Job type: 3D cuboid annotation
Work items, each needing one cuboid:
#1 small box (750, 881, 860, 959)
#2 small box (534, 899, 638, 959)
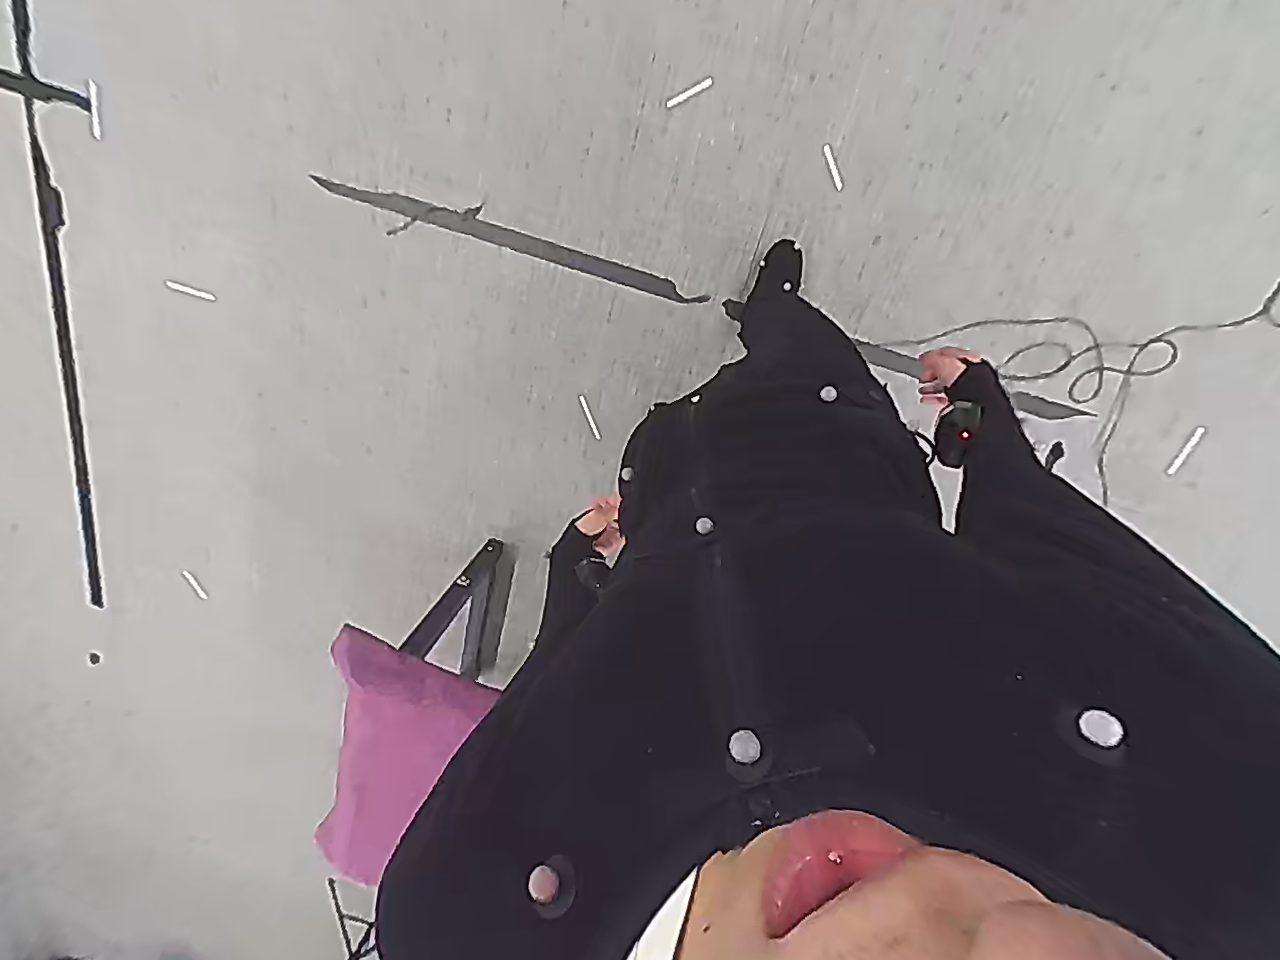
[{"bbox_3d":[0.339,0.976,1.114,0.179,0.176,0.168,20,112,0],"label":"small box"},{"bbox_3d":[-0.108,0.903,0.972,0.179,0.176,0.168,15,111,2],"label":"small box"}]
